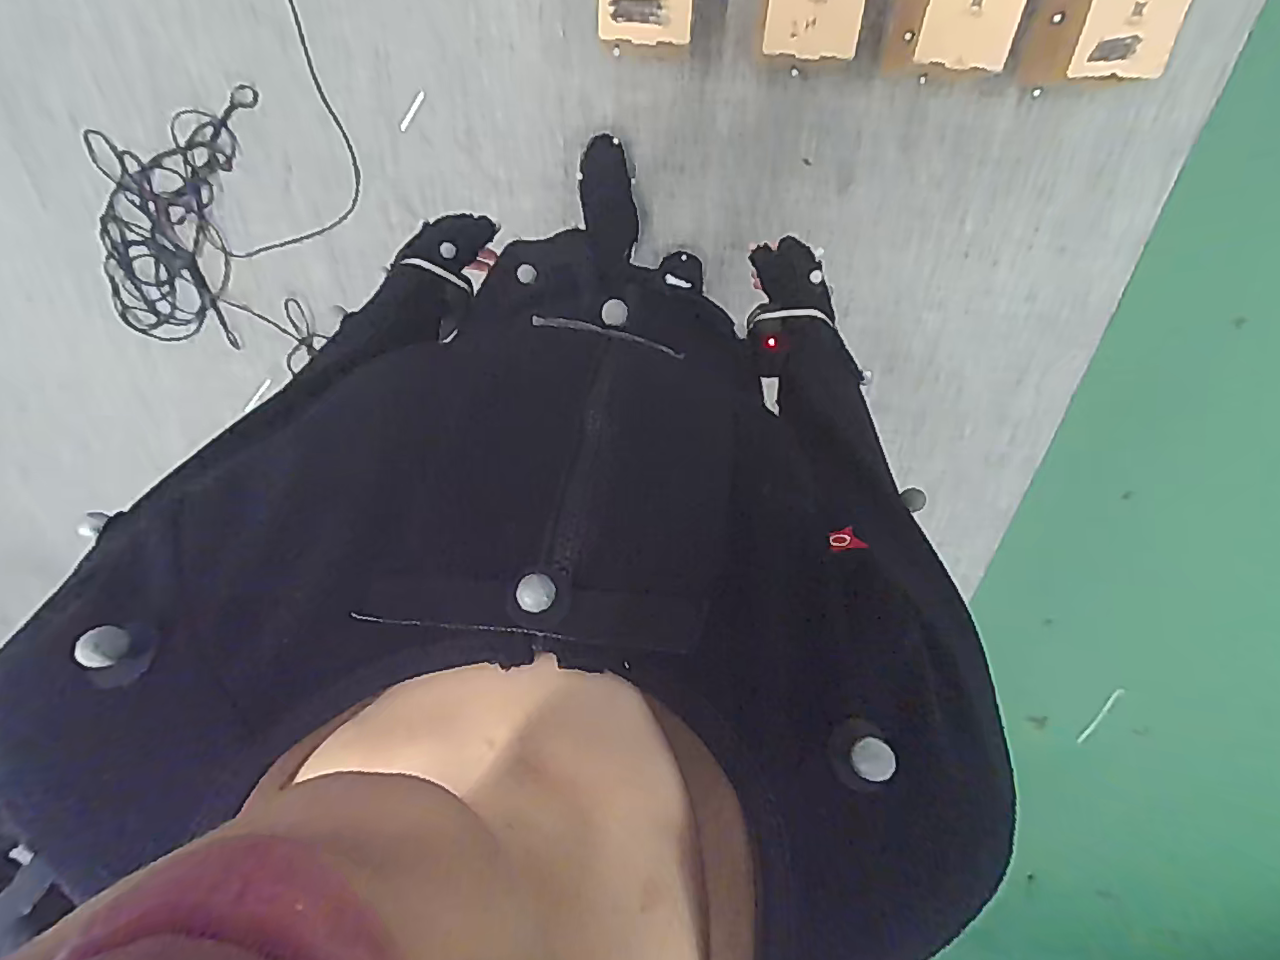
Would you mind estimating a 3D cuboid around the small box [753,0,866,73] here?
[{"bbox_3d":[0.308,-0.870,0.985,0.168,0.176,0.179,5,121,1],"label":"small box"}]

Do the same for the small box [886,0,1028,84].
[{"bbox_3d":[0.576,-0.850,0.986,0.168,0.176,0.179,6,120,0],"label":"small box"}]

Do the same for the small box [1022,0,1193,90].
[{"bbox_3d":[0.844,-0.828,0.984,0.168,0.176,0.179,3,120,1],"label":"small box"}]
